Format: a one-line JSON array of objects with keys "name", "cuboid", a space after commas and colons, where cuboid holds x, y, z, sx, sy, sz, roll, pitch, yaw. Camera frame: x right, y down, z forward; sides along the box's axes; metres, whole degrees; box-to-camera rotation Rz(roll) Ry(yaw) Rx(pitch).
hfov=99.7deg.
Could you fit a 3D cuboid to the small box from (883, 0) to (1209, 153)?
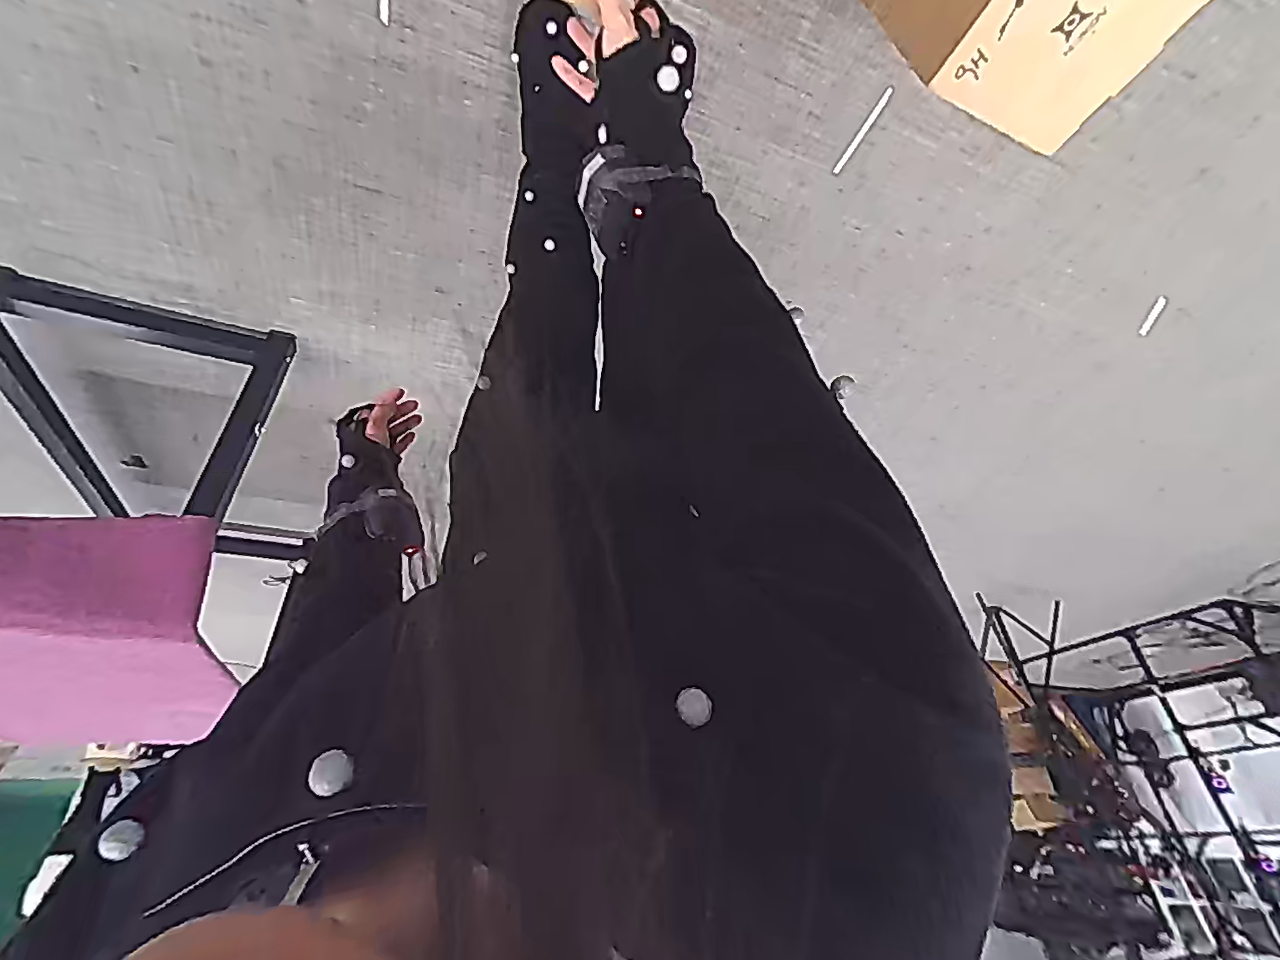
[{"name": "small box", "cuboid": [0.366, -0.454, 0.499, 0.179, 0.176, 0.168, 9, 146, -22]}]
